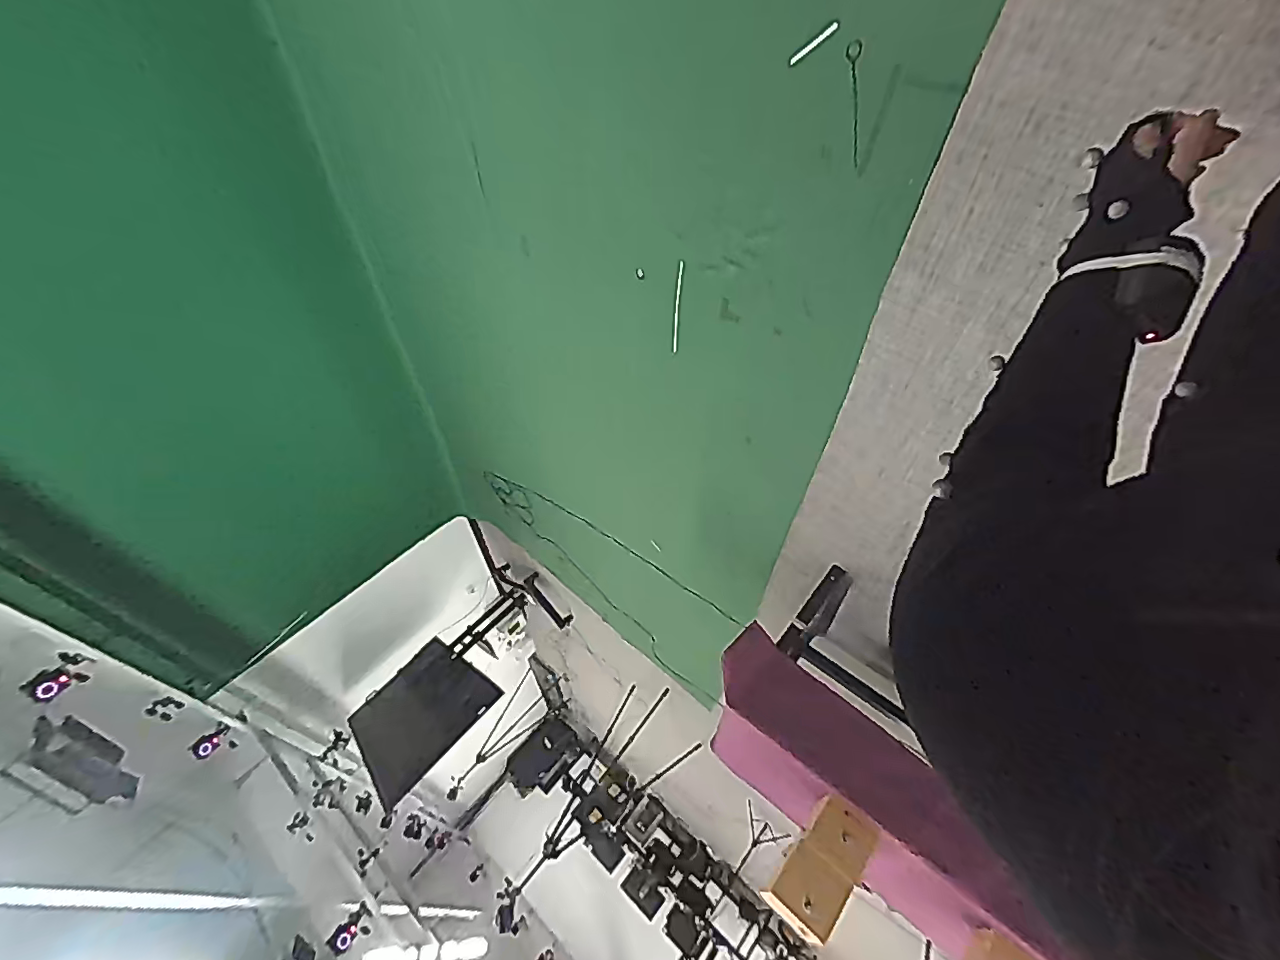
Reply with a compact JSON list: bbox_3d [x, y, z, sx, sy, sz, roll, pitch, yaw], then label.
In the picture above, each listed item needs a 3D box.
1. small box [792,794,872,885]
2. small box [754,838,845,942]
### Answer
[{"bbox_3d":[0.577,1.089,1.641,0.168,0.176,0.179,35,148,24],"label":"small box"},{"bbox_3d":[0.463,1.183,1.567,0.179,0.176,0.168,35,148,24],"label":"small box"}]
